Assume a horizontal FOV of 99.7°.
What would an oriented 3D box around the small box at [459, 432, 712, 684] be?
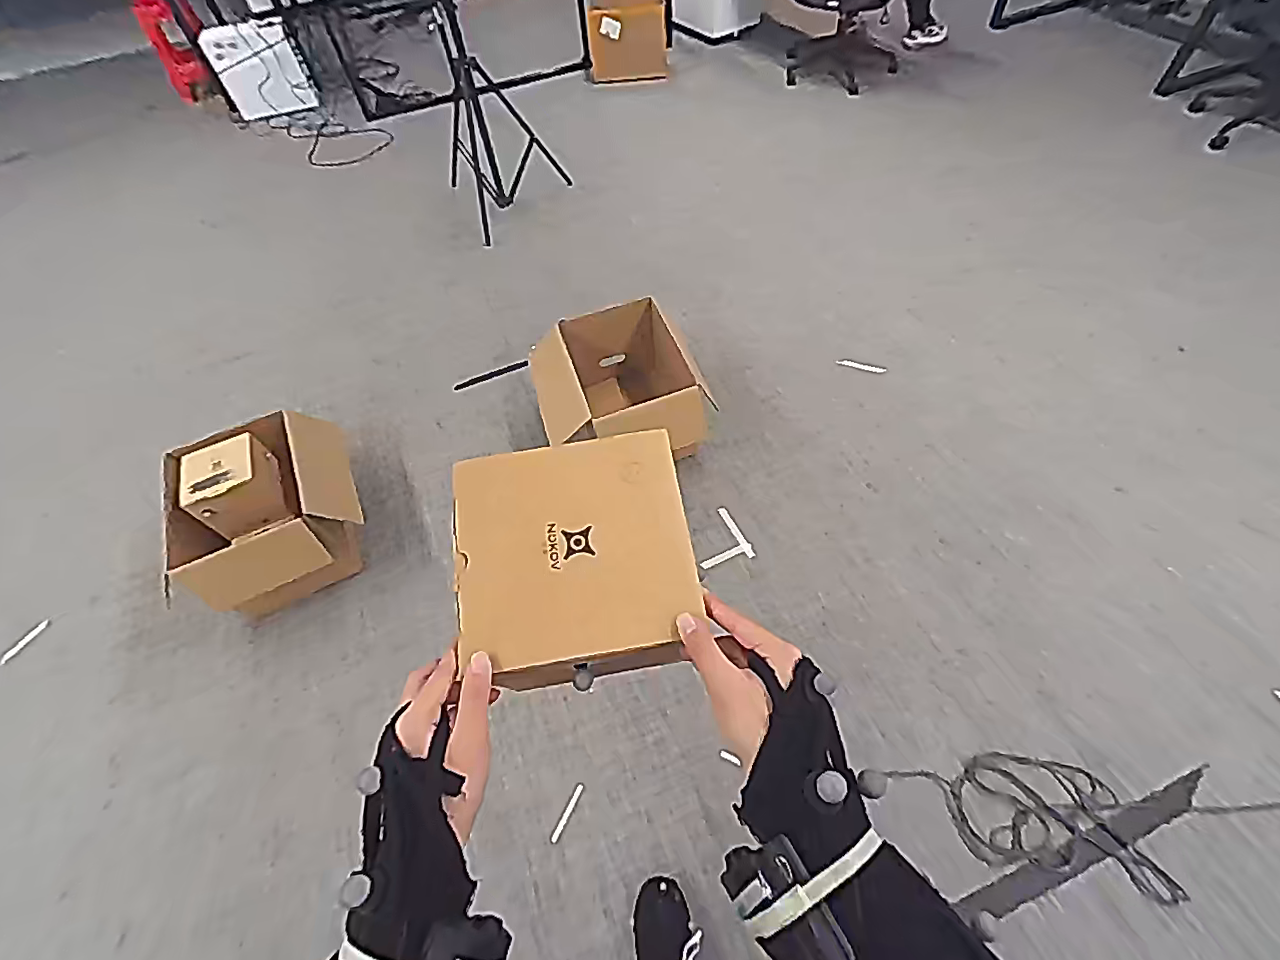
[{"bbox_3d":[-0.046,0.078,0.478,0.179,0.176,0.168,-10,66,-2],"label":"small box"}]
